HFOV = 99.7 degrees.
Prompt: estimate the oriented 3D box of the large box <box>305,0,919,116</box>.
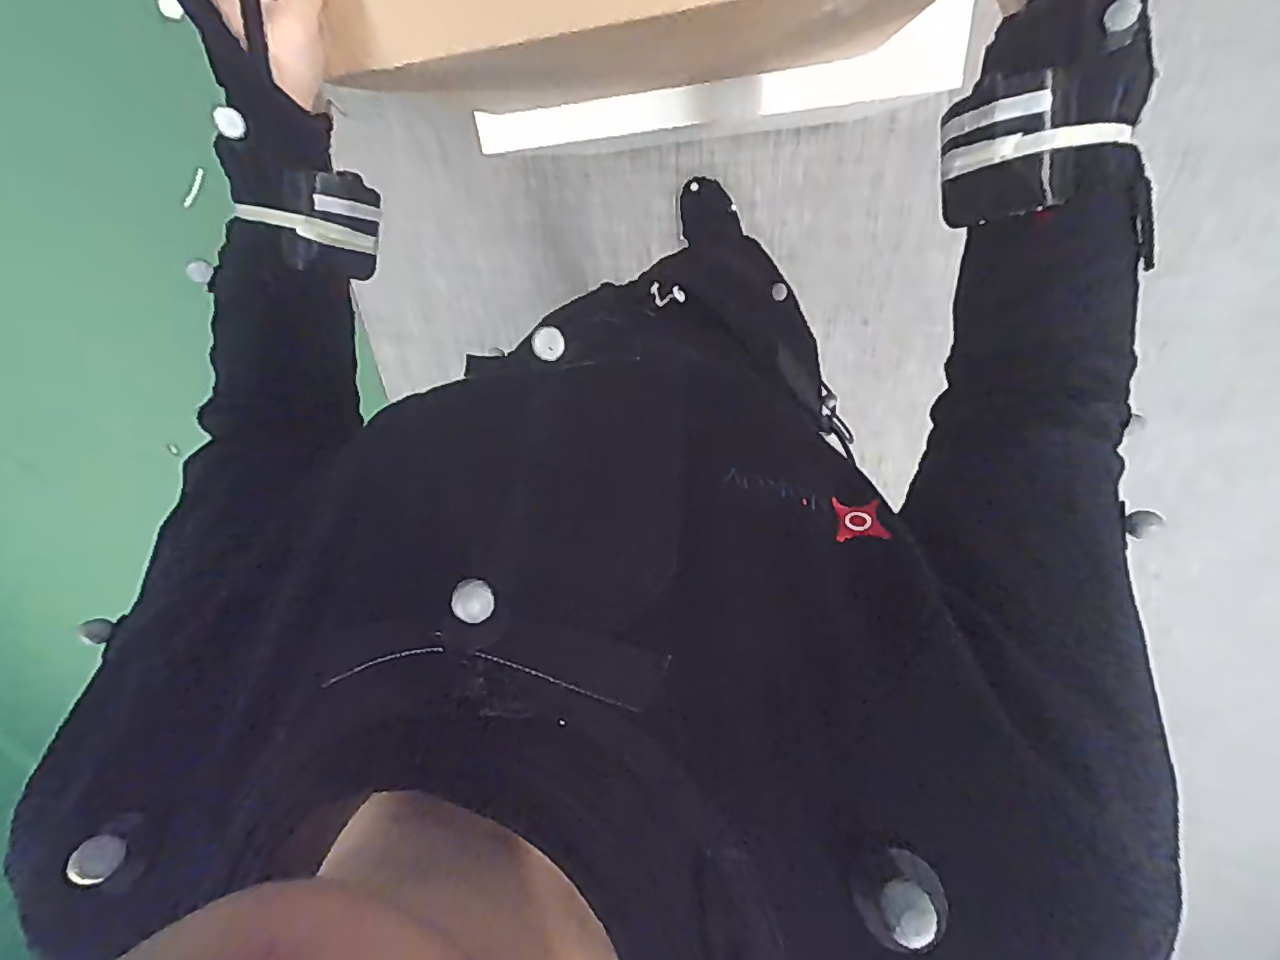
[{"bbox_3d":[-0.007,-0.475,0.369,0.408,0.320,0.320,-3,120,10],"label":"large box"}]
